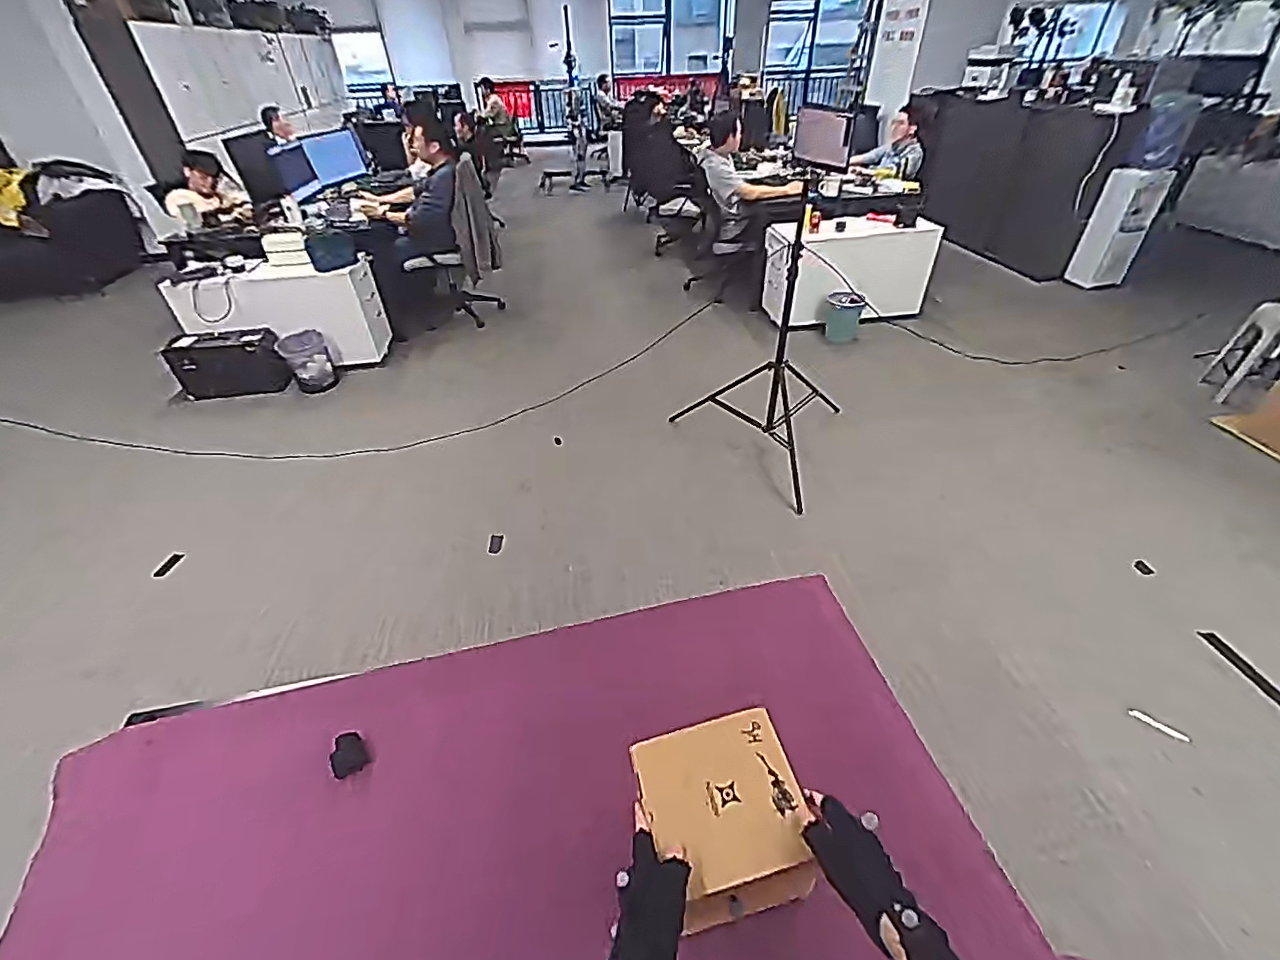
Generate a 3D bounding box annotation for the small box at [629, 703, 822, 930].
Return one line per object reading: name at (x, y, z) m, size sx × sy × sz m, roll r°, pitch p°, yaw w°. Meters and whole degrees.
small box at (0.100, 0.408, 0.654) m, size 0.179 × 0.176 × 0.168 m, roll -15°, pitch 42°, yaw -5°
